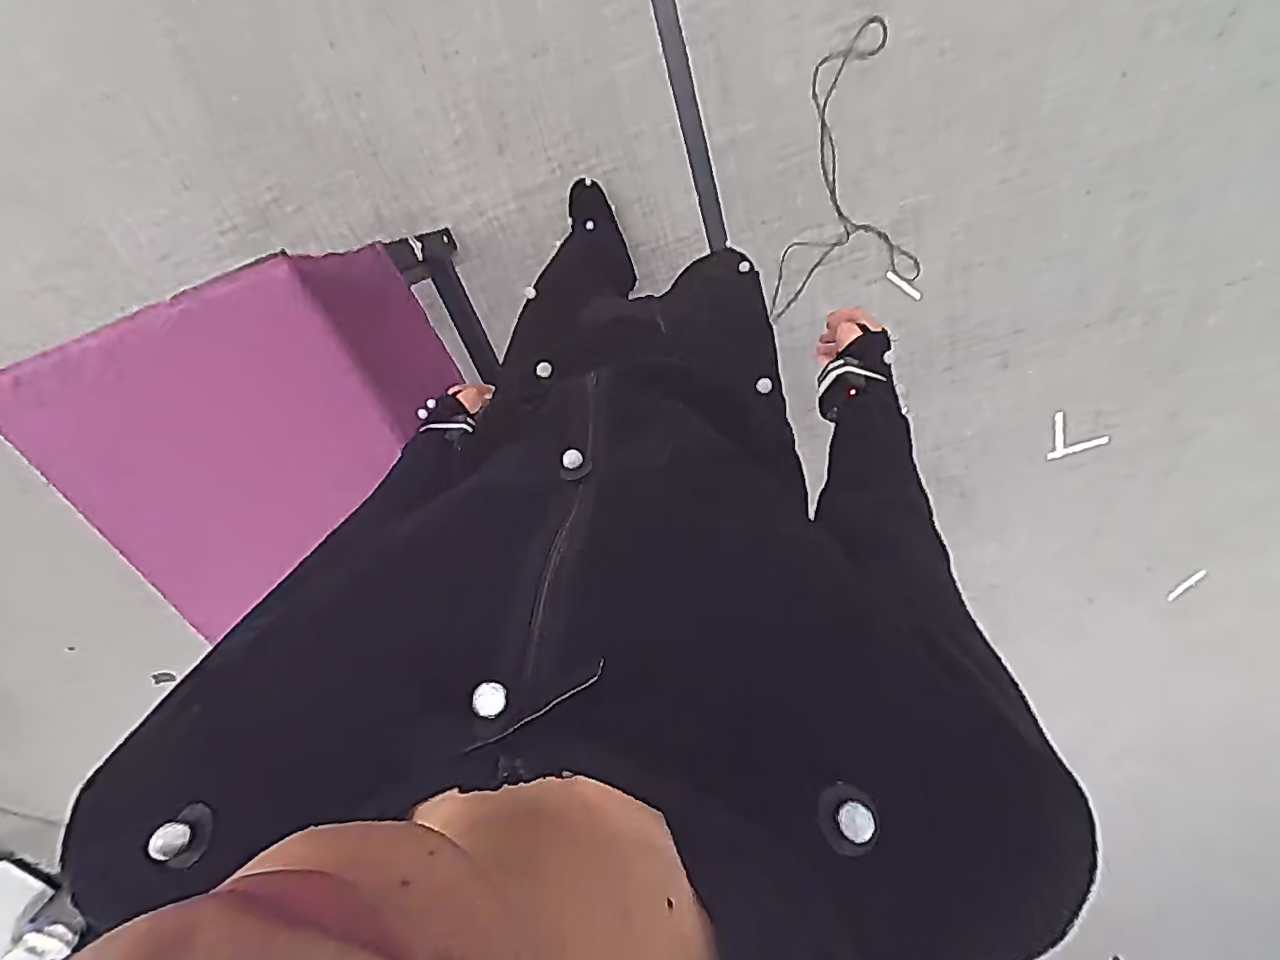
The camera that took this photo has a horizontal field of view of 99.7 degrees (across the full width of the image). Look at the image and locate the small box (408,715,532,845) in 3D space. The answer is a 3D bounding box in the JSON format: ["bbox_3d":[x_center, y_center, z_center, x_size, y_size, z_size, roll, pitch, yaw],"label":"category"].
[{"bbox_3d":[-0.357,0.645,1.171,0.179,0.176,0.168,-20,117,11],"label":"small box"}]
